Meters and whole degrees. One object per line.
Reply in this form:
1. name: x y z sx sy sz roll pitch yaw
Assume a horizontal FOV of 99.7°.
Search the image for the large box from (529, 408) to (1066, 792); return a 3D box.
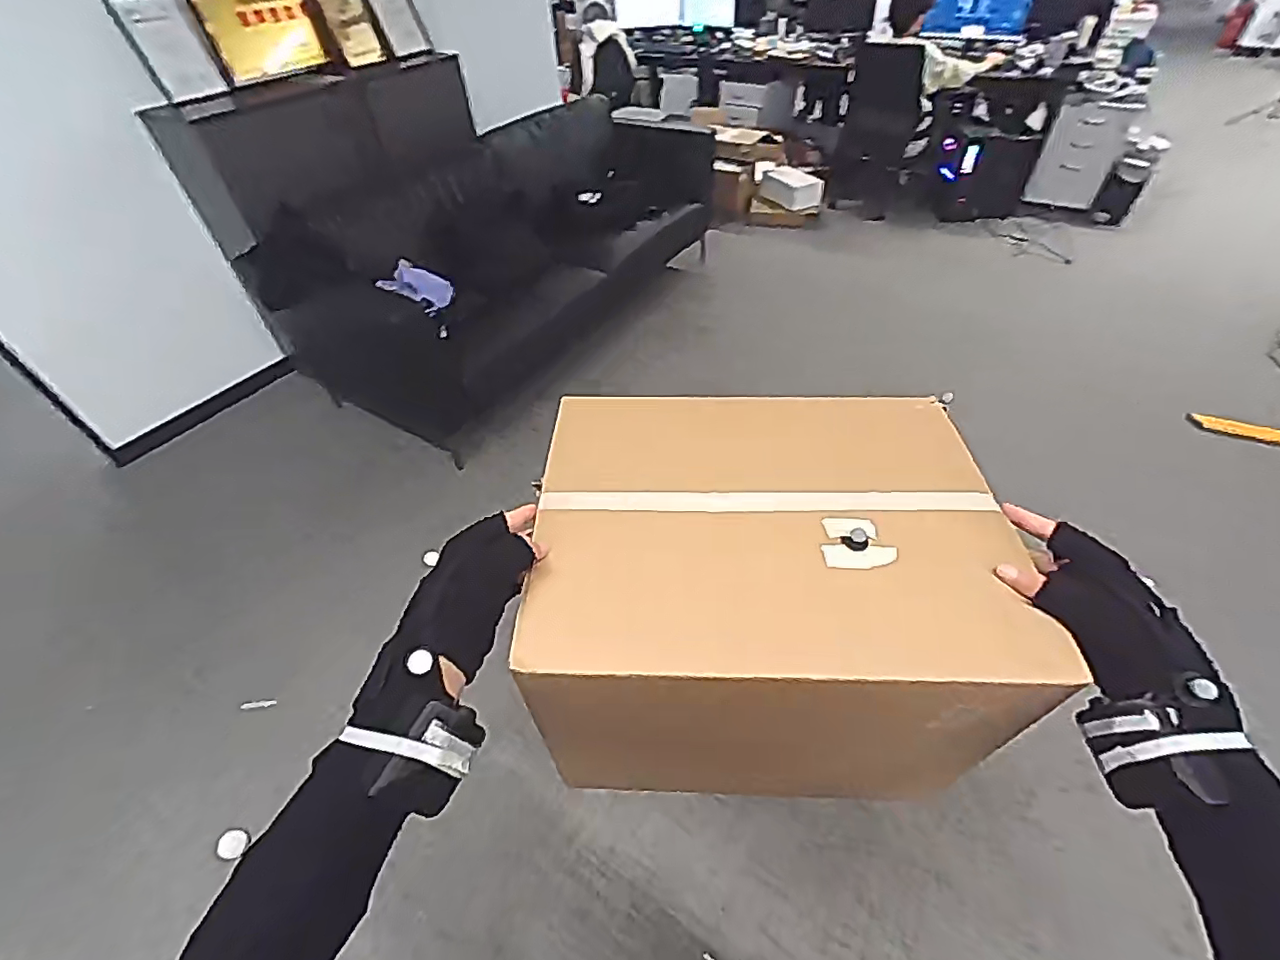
1. large box: 0.115 0.134 0.602 0.408 0.320 0.320 0 47 1
